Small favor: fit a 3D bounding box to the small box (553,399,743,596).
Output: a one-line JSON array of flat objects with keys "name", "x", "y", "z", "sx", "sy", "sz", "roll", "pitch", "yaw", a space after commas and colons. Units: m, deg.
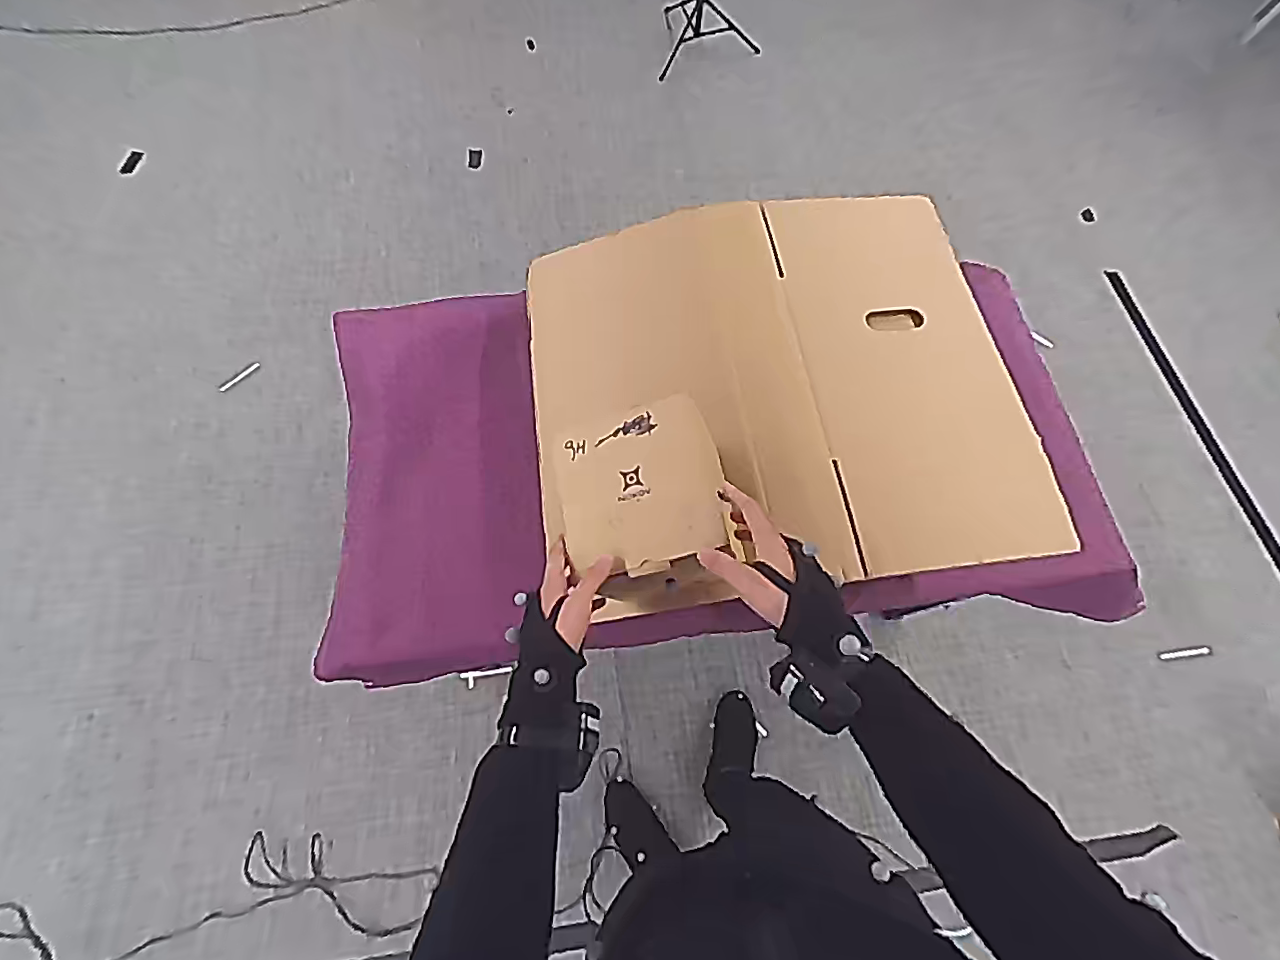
[{"name": "small box", "x": 0.016, "y": 0.035, "z": 0.636, "sx": 0.168, "sy": 0.176, "sz": 0.179, "roll": -16, "pitch": 69, "yaw": 12}]
